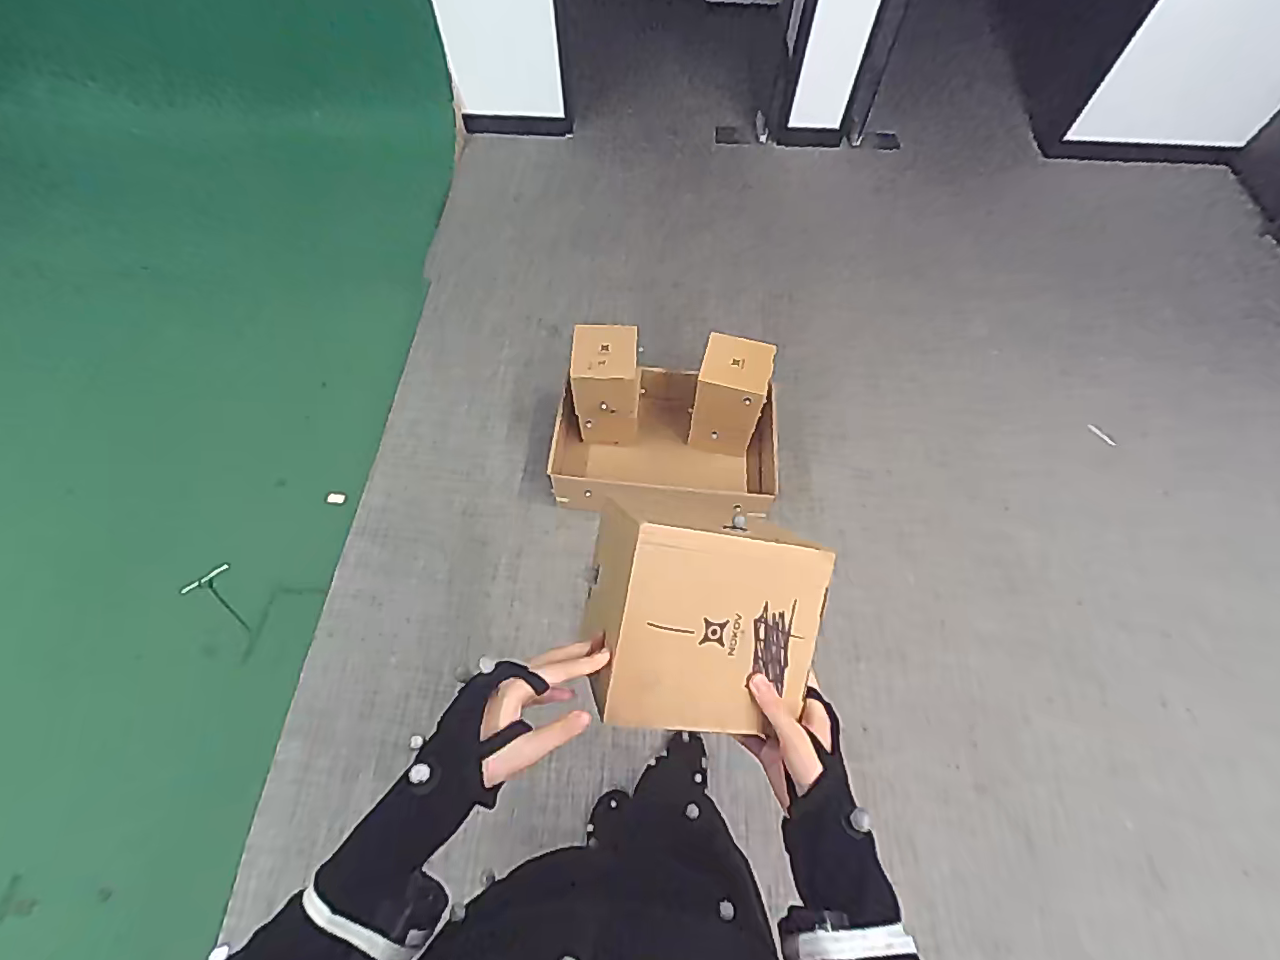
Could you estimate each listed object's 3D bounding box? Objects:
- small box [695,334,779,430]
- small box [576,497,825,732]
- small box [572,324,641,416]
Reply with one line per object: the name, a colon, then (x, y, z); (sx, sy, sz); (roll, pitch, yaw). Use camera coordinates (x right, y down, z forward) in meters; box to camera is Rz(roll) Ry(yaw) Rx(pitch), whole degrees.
small box: (0.250, -0.254, 1.434); (0.179, 0.176, 0.168); (15, 64, 7)
small box: (0.043, 0.115, 0.520); (0.179, 0.176, 0.168); (10, 93, -12)
small box: (-0.085, -0.292, 1.445); (0.168, 0.176, 0.179); (2, 64, 2)
